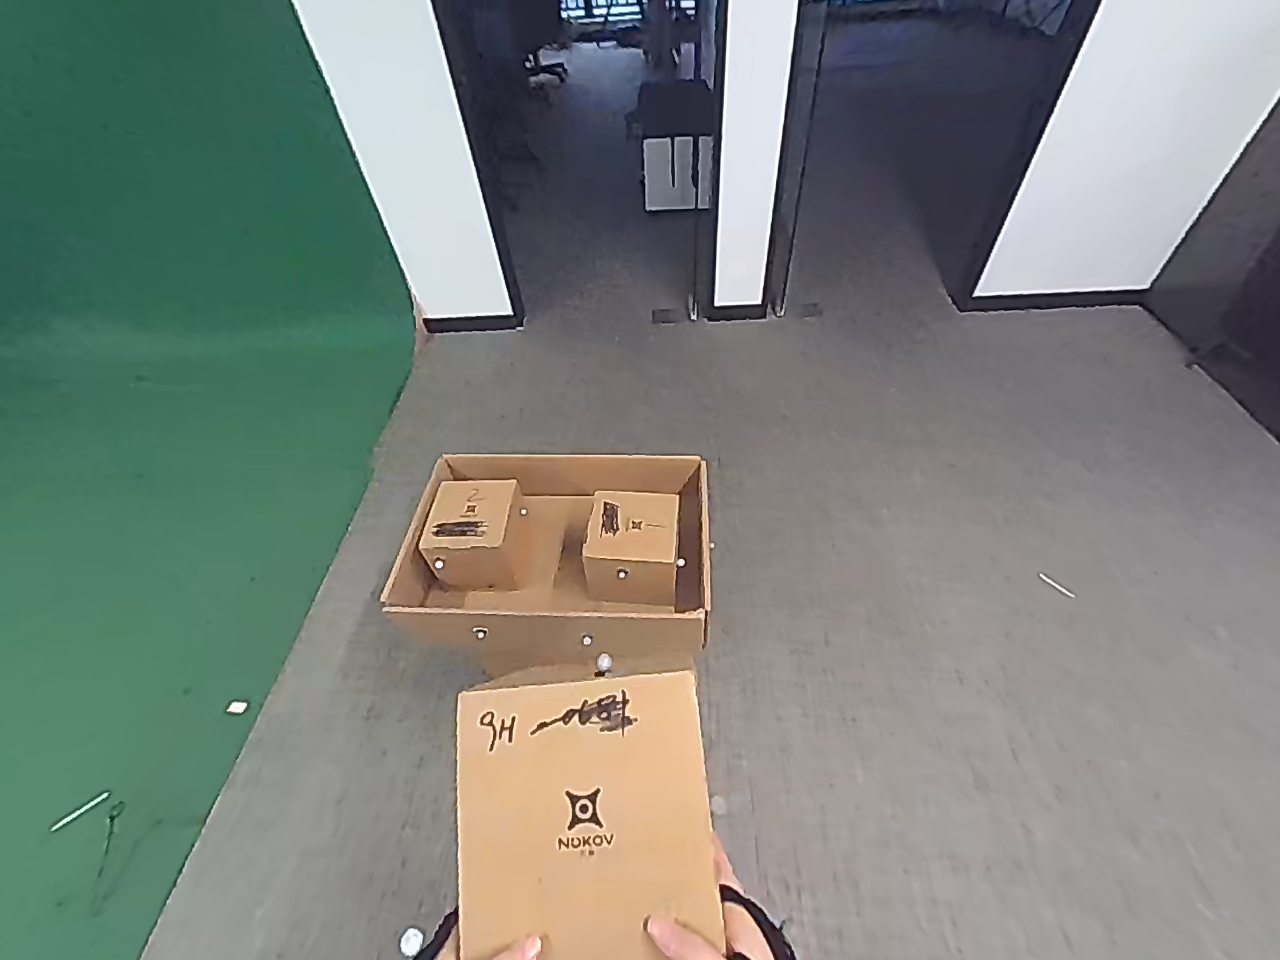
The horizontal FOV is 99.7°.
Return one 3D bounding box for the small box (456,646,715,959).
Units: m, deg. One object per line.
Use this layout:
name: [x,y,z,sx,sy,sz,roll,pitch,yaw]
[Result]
small box: [-0.033,0.234,0.429,0.168,0.176,0.179,-6,76,3]
